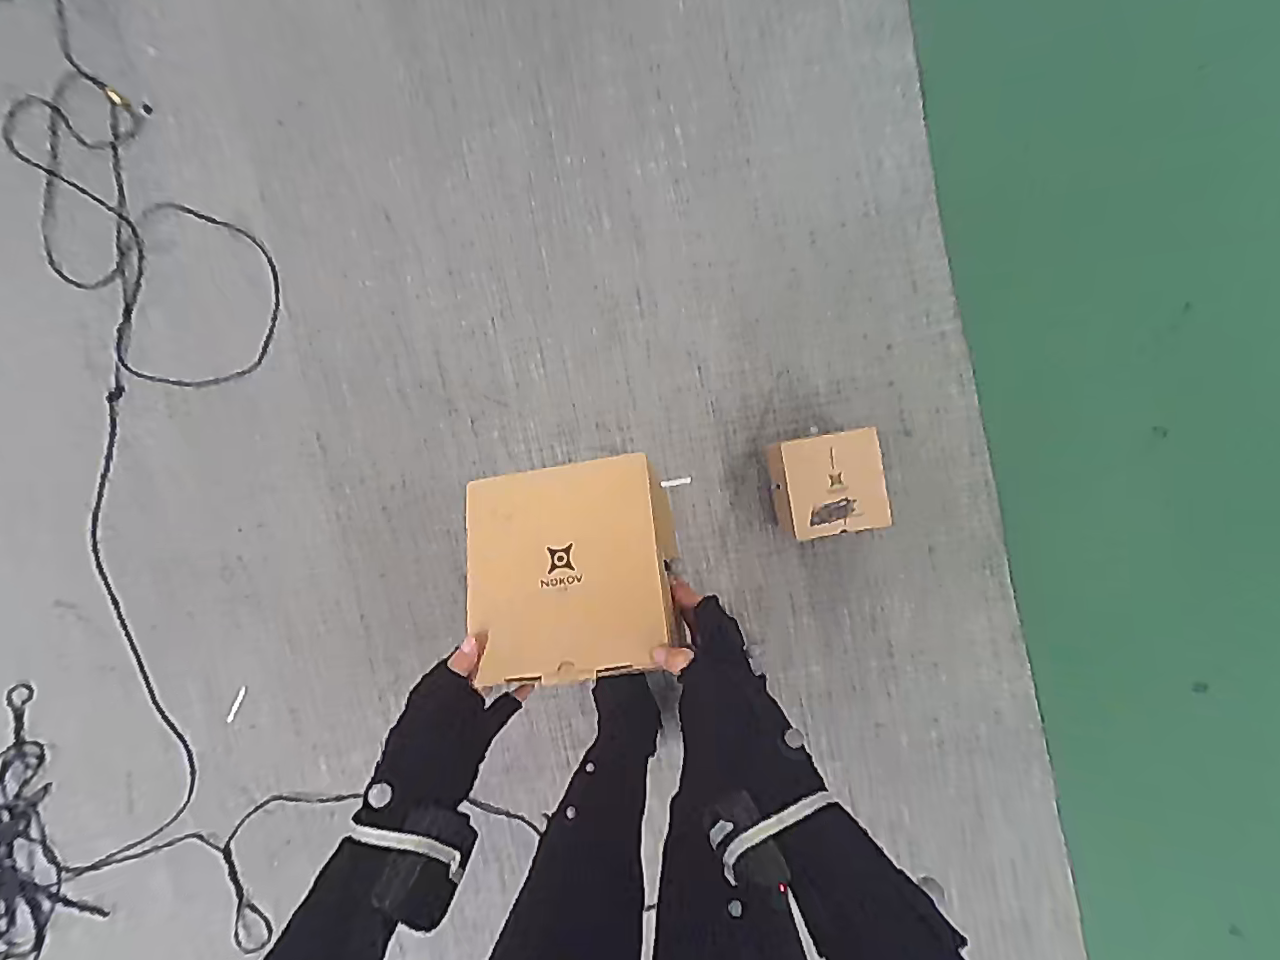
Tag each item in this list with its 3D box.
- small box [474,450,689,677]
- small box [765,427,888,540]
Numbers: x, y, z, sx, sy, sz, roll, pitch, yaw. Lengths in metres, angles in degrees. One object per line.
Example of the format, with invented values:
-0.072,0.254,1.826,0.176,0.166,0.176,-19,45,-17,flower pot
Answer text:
-0.047,0.091,0.525,0.168,0.176,0.179,-9,71,7,small box
0.336,0.002,1.000,0.168,0.176,0.179,-10,92,4,small box
